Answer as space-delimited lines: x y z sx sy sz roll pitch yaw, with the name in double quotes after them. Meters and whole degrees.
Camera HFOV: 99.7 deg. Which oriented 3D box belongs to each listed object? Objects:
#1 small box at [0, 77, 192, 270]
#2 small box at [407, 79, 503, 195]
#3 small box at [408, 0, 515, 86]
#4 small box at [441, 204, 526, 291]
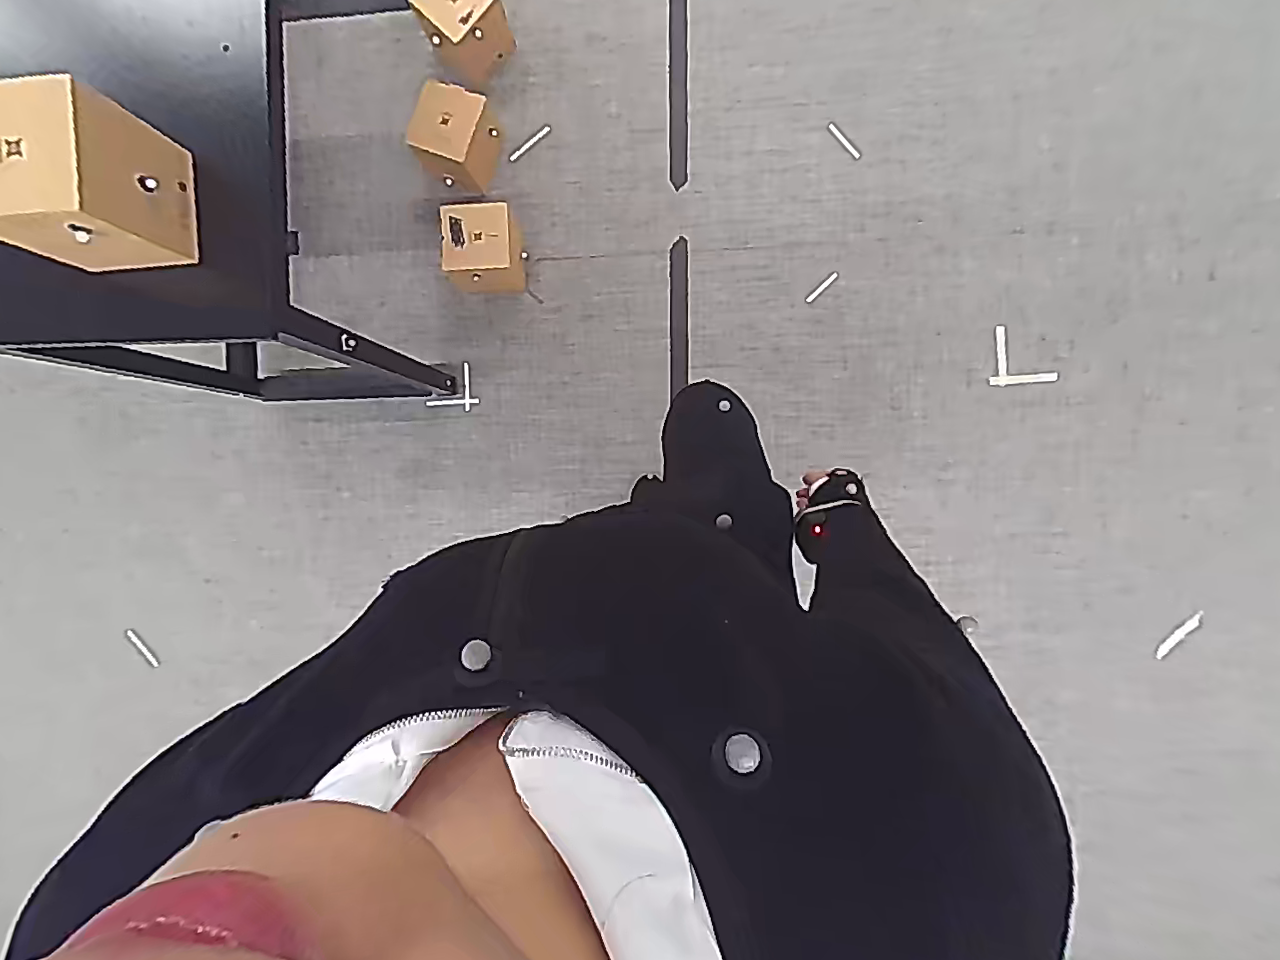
-0.754 -0.401 0.735 0.179 0.176 0.168 -3 90 4 "small box"
-0.483 -0.906 1.442 0.168 0.176 0.179 20 93 4 "small box"
-0.465 -1.208 1.432 0.179 0.176 0.168 43 93 2 "small box"
-0.413 -0.612 1.442 0.179 0.176 0.168 -2 91 2 "small box"
